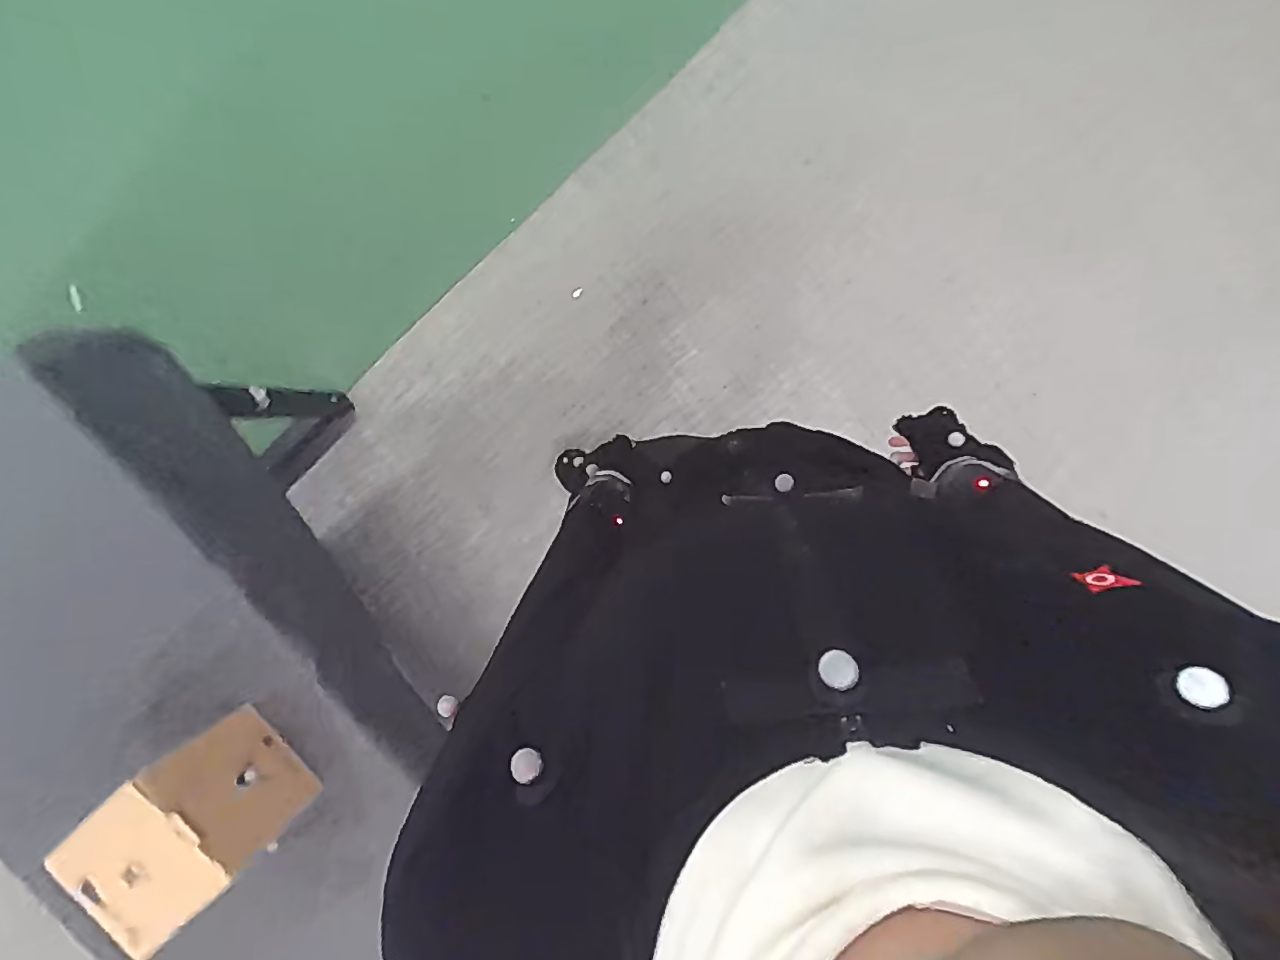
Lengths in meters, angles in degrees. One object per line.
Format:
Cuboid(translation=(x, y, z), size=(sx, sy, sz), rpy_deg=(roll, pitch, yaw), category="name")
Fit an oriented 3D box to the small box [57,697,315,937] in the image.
Cuboid(translation=(-0.578, 0.430, 0.720), size=(0.179, 0.176, 0.168), rpy_deg=(-41, 92, 8), category="small box")
